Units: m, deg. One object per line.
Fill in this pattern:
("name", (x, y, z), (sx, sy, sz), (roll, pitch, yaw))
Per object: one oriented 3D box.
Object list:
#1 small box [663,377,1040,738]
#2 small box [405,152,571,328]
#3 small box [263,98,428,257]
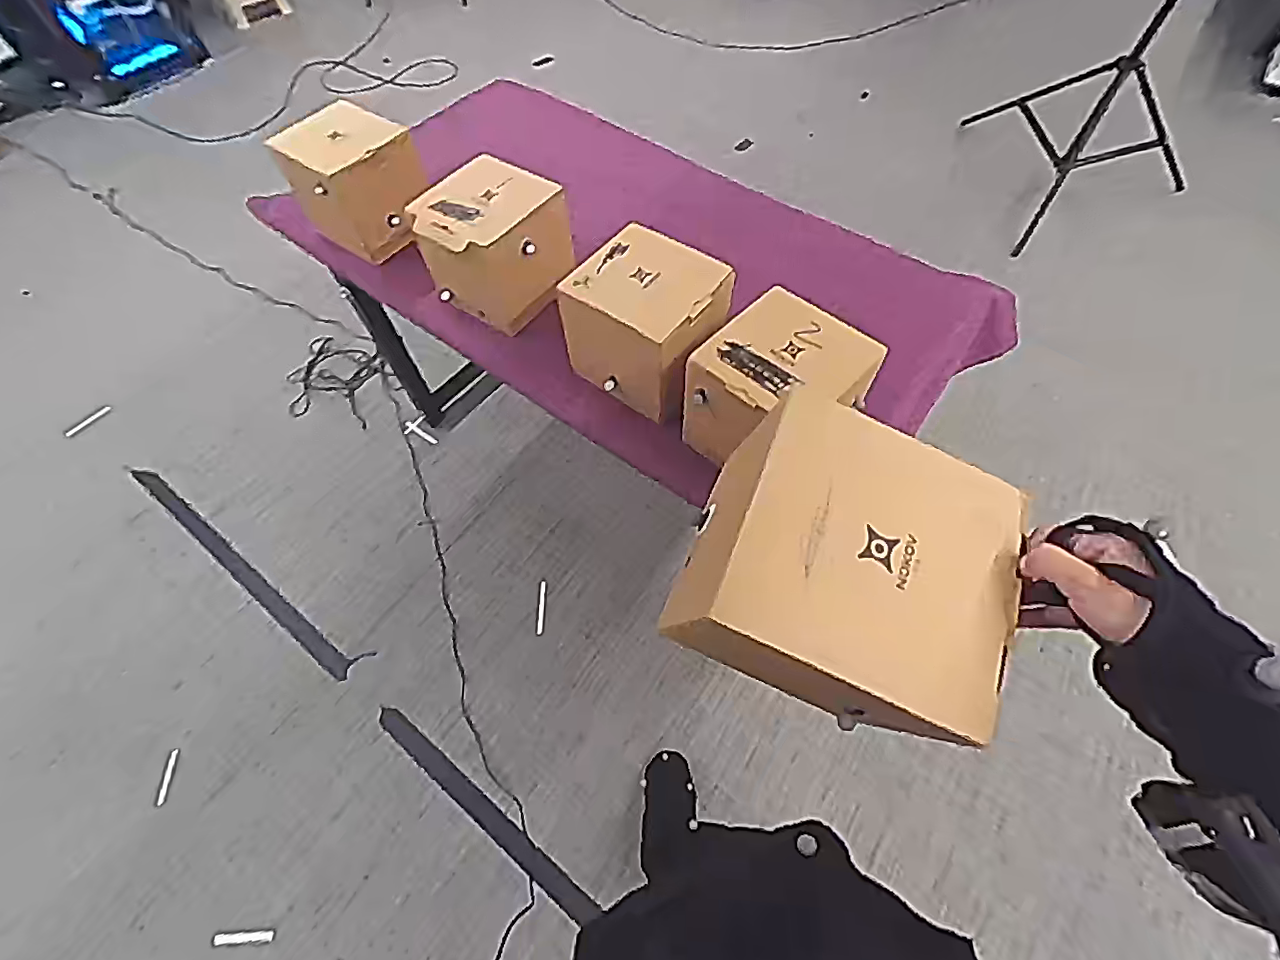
("small box", (0.137, 0.061, 0.397), (0.179, 0.176, 0.168), (25, 69, 0))
("small box", (-0.226, -0.376, 0.862), (0.168, 0.176, 0.179), (31, 65, 17))
("small box", (-0.499, -0.528, 0.956), (0.179, 0.176, 0.168), (31, 66, 17))
